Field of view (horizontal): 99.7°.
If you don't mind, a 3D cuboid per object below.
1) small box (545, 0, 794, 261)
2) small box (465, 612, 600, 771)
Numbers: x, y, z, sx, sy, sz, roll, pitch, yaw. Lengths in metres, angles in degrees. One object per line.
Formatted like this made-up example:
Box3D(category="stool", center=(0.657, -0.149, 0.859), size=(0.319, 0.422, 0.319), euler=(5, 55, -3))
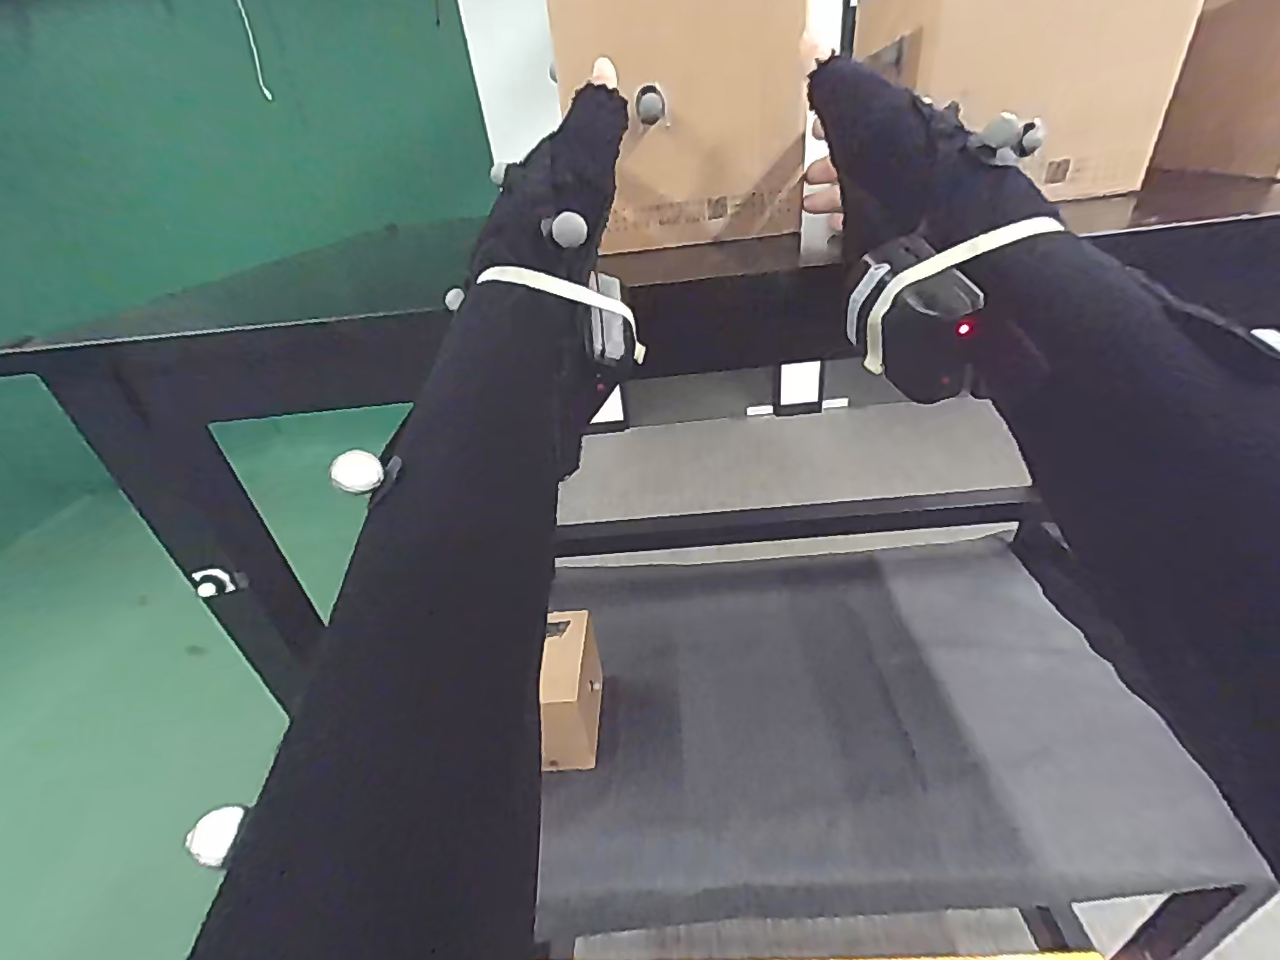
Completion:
Box3D(category="small box", center=(0.031, -0.286, 0.451), size=(0.168, 0.176, 0.179), euler=(-4, 31, 4))
Box3D(category="small box", center=(-0.159, 0.337, 0.872), size=(0.168, 0.176, 0.179), euler=(-5, 32, 4))
